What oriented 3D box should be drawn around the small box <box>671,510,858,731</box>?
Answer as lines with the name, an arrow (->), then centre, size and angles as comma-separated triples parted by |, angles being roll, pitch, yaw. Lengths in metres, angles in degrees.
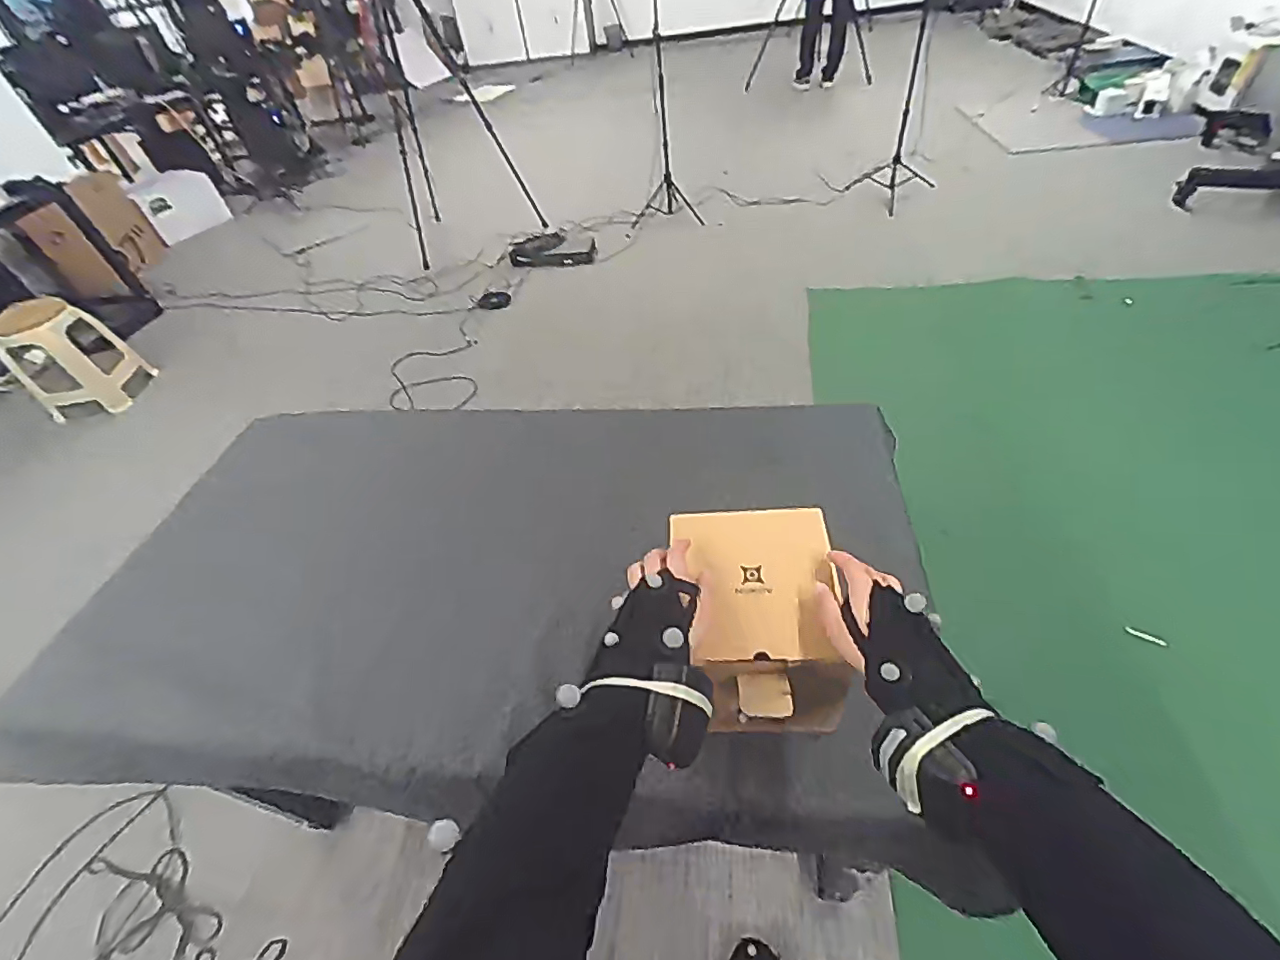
small box -> 0.121, 0.153, 0.592 | 0.168, 0.176, 0.179 | -3, 47, 6
